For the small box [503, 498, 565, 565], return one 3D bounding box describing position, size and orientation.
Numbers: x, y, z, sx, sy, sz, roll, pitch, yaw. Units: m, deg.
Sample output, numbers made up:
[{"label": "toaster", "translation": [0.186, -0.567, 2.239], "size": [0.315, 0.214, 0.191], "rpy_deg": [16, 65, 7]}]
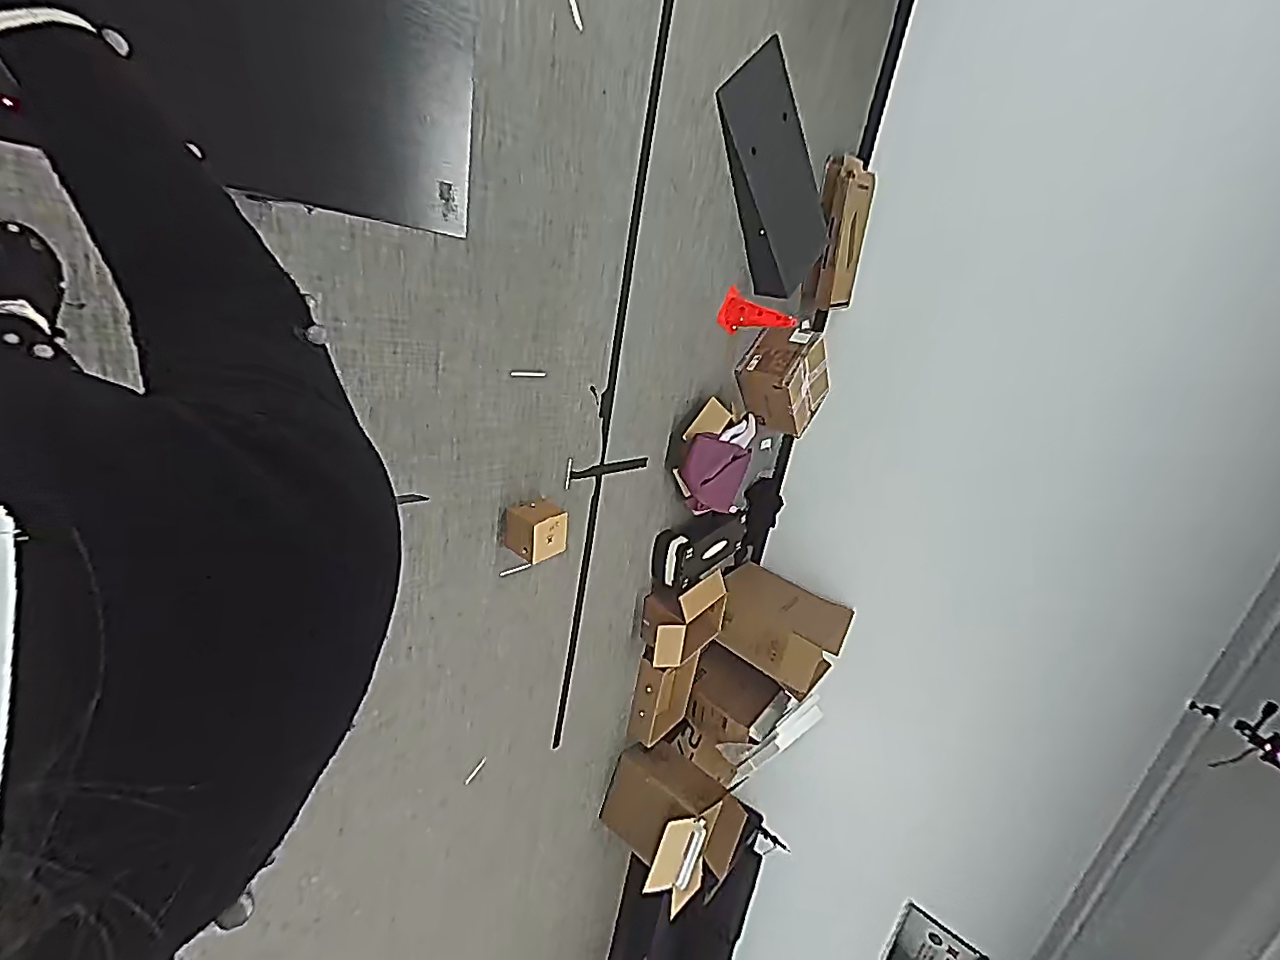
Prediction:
[{"label": "small box", "translation": [-0.410, 0.193, 2.076], "size": [0.168, 0.176, 0.179], "rpy_deg": [-21, 126, -47]}]
